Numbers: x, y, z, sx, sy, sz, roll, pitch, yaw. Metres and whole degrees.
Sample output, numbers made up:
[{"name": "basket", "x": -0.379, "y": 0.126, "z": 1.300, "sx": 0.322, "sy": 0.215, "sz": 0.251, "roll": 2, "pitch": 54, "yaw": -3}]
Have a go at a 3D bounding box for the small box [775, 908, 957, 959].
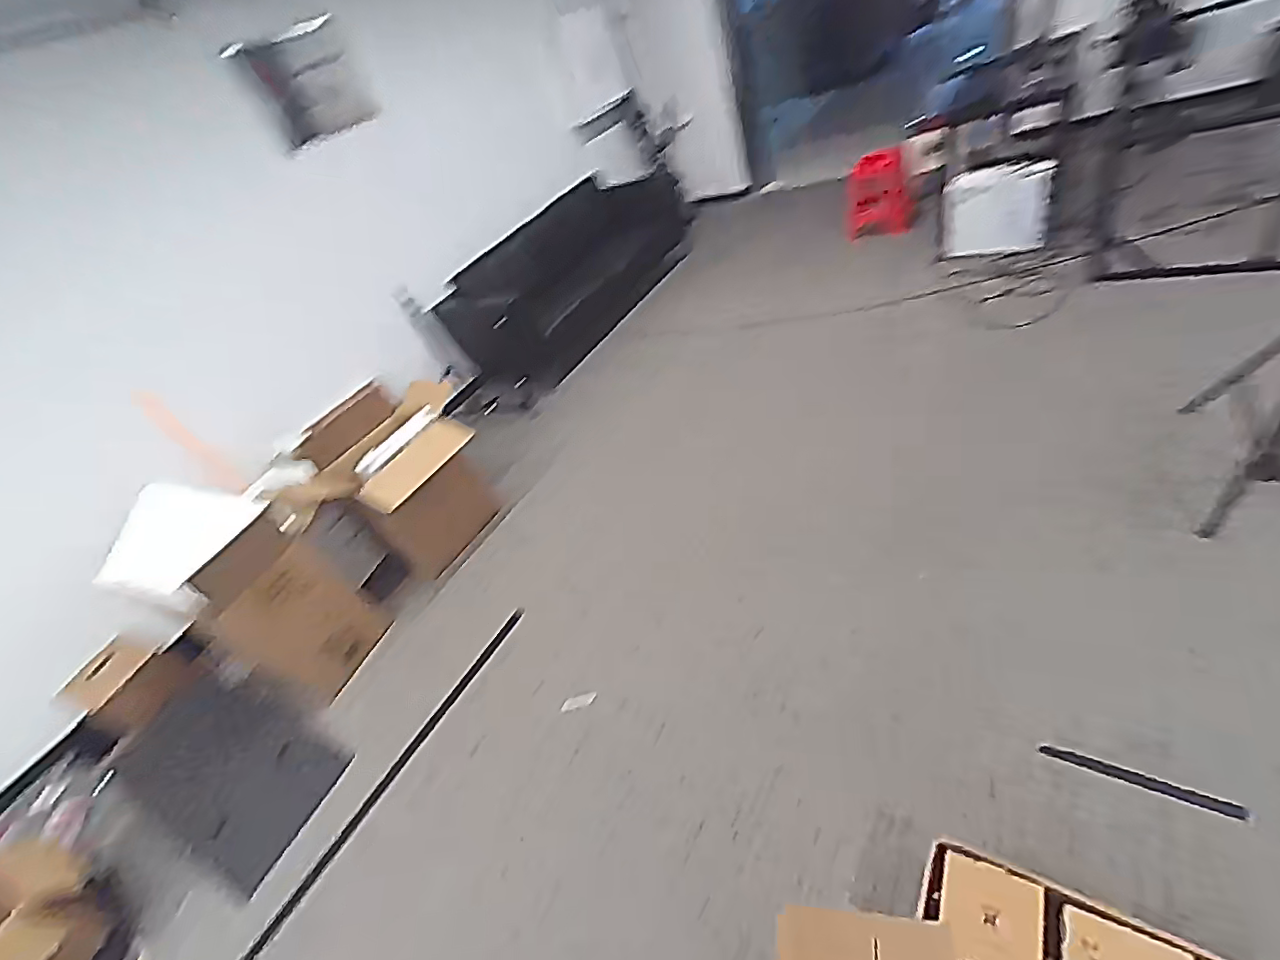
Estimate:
[{"name": "small box", "x": 0.237, "y": 0.580, "z": 0.570, "sx": 0.168, "sy": 0.176, "sz": 0.179, "roll": 2, "pitch": 47, "yaw": 7}]
